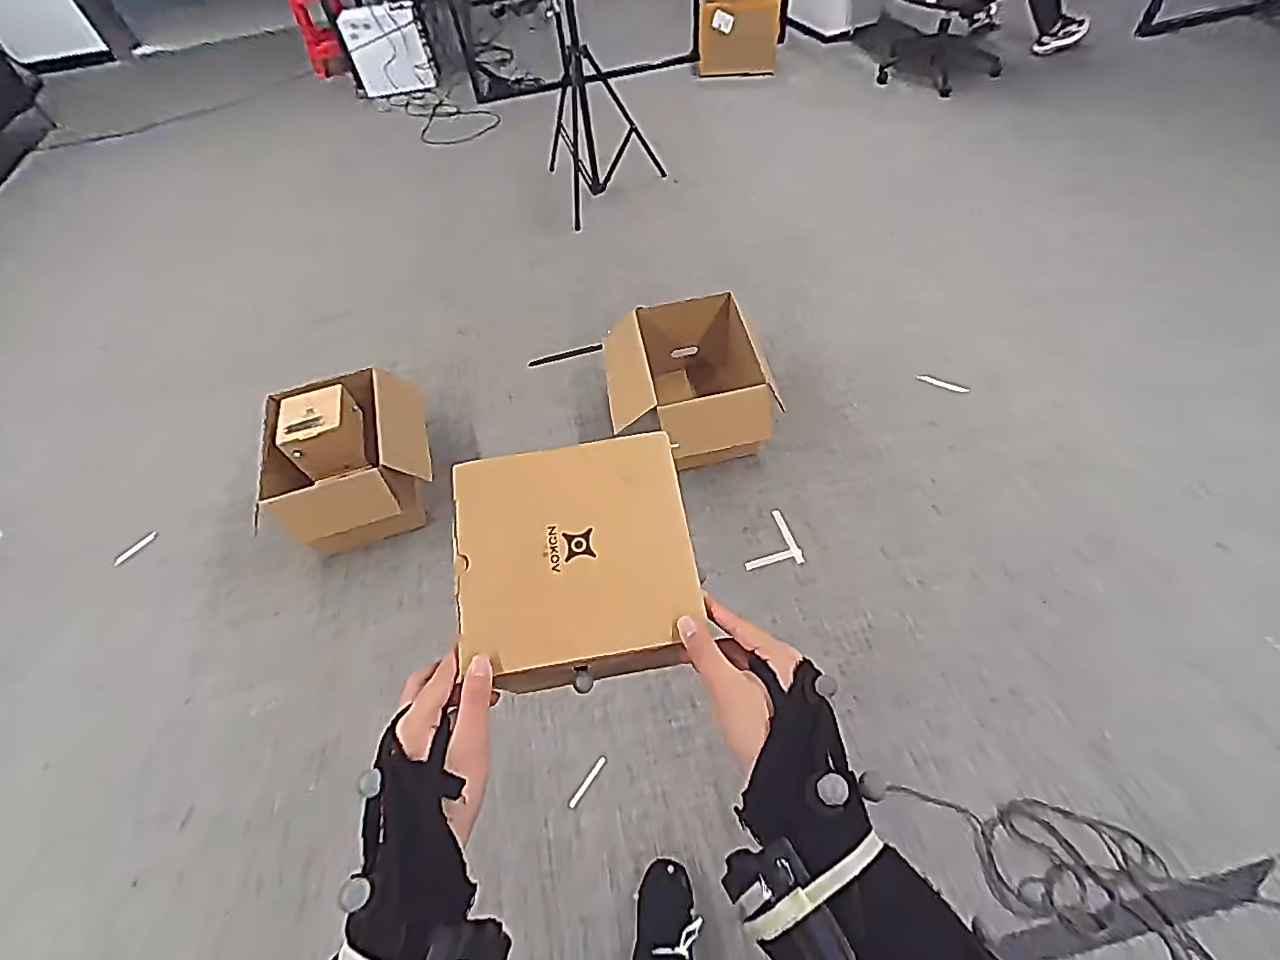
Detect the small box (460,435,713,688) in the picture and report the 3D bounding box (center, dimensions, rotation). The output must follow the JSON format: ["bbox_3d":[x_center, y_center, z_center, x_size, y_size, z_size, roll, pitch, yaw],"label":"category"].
[{"bbox_3d":[-0.045,0.081,0.478,0.179,0.176,0.168,-10,66,-2],"label":"small box"}]
